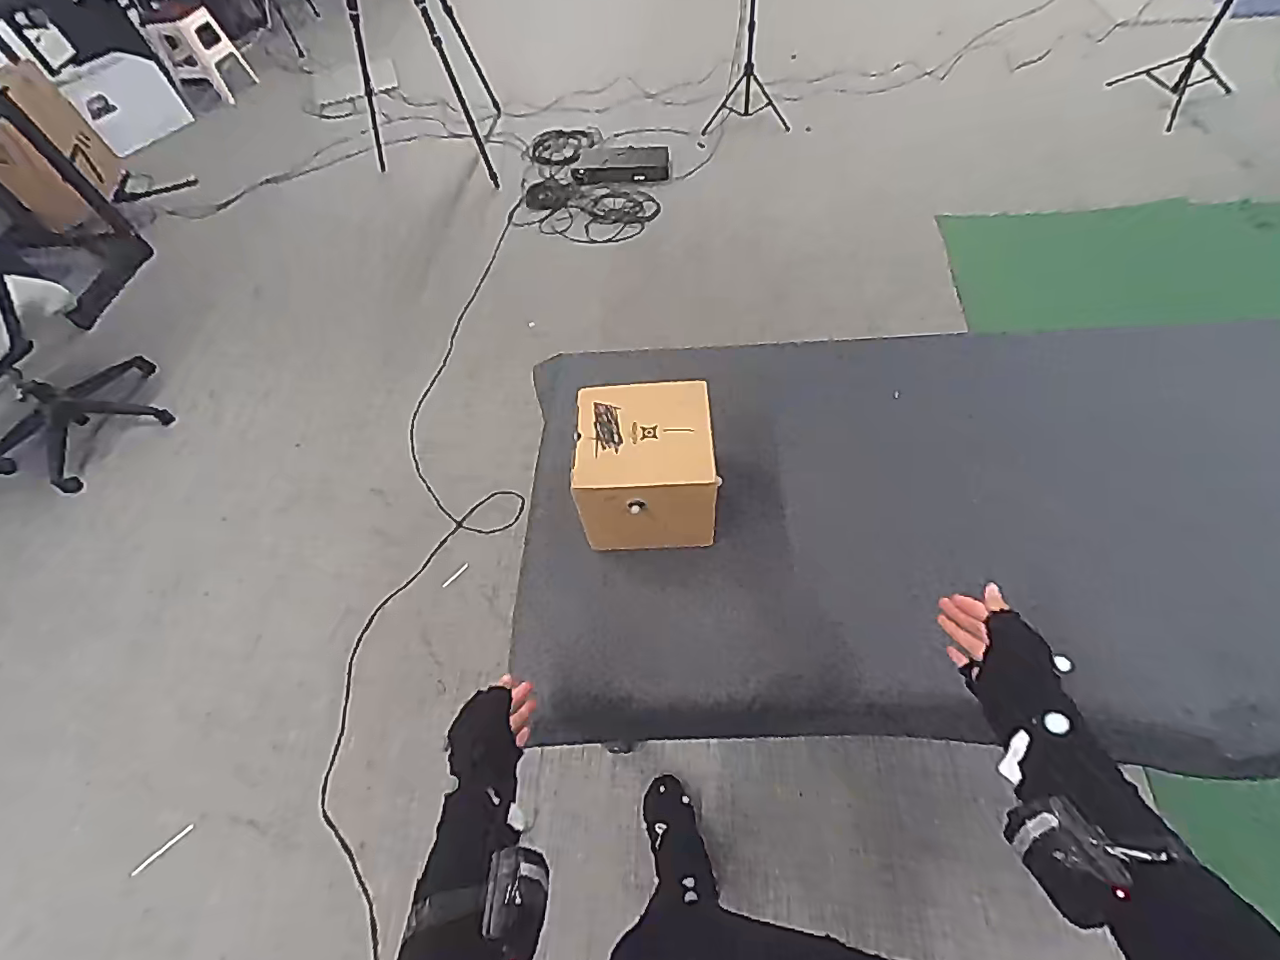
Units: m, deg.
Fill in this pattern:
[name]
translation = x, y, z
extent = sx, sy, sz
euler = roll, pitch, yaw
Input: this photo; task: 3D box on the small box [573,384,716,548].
[small box]
translation = 0.013, -0.013, 0.754
extent = 0.179, 0.176, 0.168
euler = -2, 57, 4
